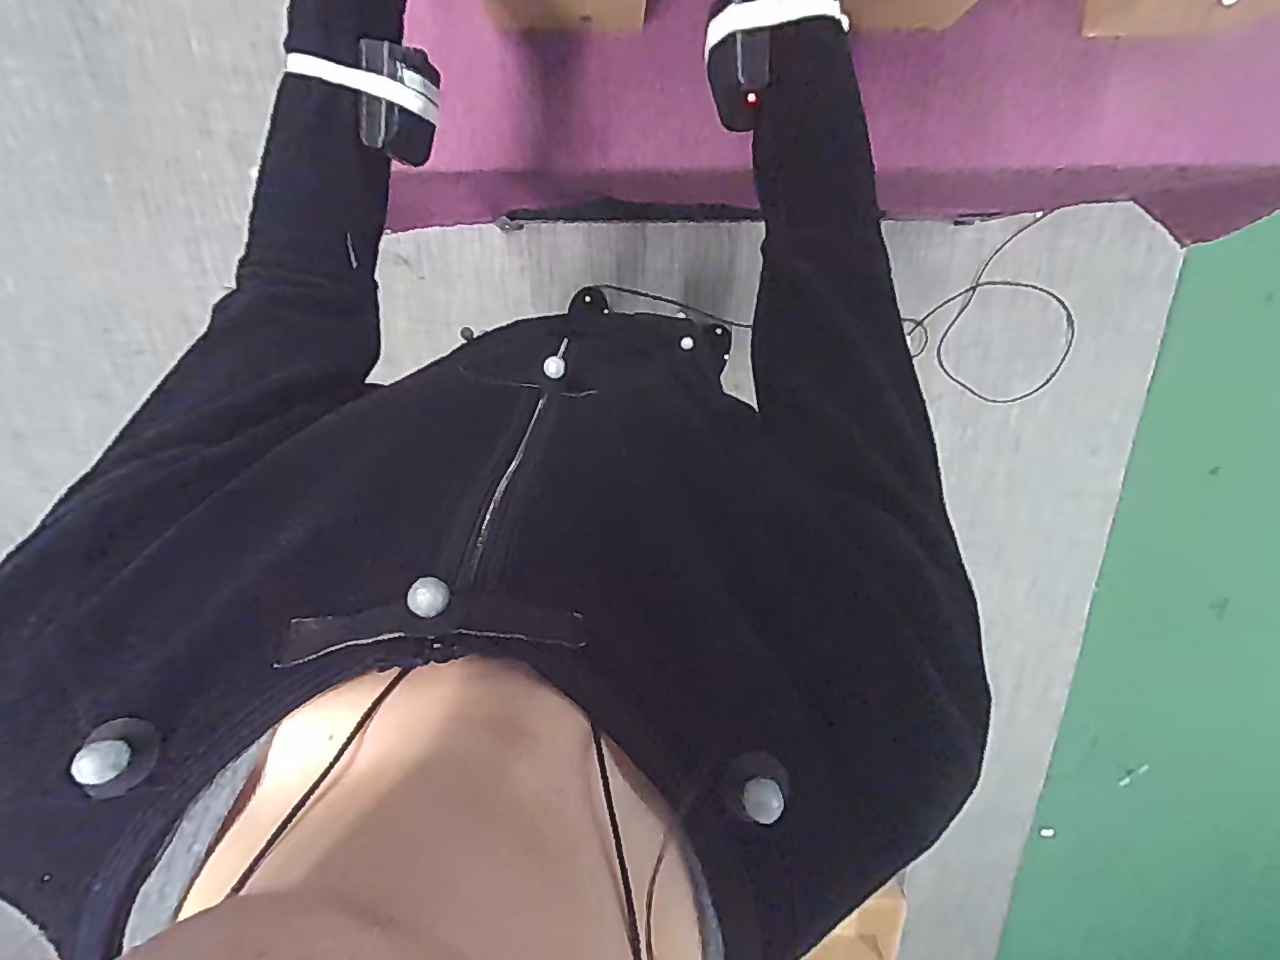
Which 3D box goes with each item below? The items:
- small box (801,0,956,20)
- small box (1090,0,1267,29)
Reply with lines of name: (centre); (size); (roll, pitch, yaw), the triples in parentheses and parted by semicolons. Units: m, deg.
small box: (0.262, -0.567, 0.502); (0.179, 0.176, 0.168); (-1, 108, -4)
small box: (0.589, -0.569, 0.518); (0.179, 0.176, 0.168); (-4, 108, -1)
